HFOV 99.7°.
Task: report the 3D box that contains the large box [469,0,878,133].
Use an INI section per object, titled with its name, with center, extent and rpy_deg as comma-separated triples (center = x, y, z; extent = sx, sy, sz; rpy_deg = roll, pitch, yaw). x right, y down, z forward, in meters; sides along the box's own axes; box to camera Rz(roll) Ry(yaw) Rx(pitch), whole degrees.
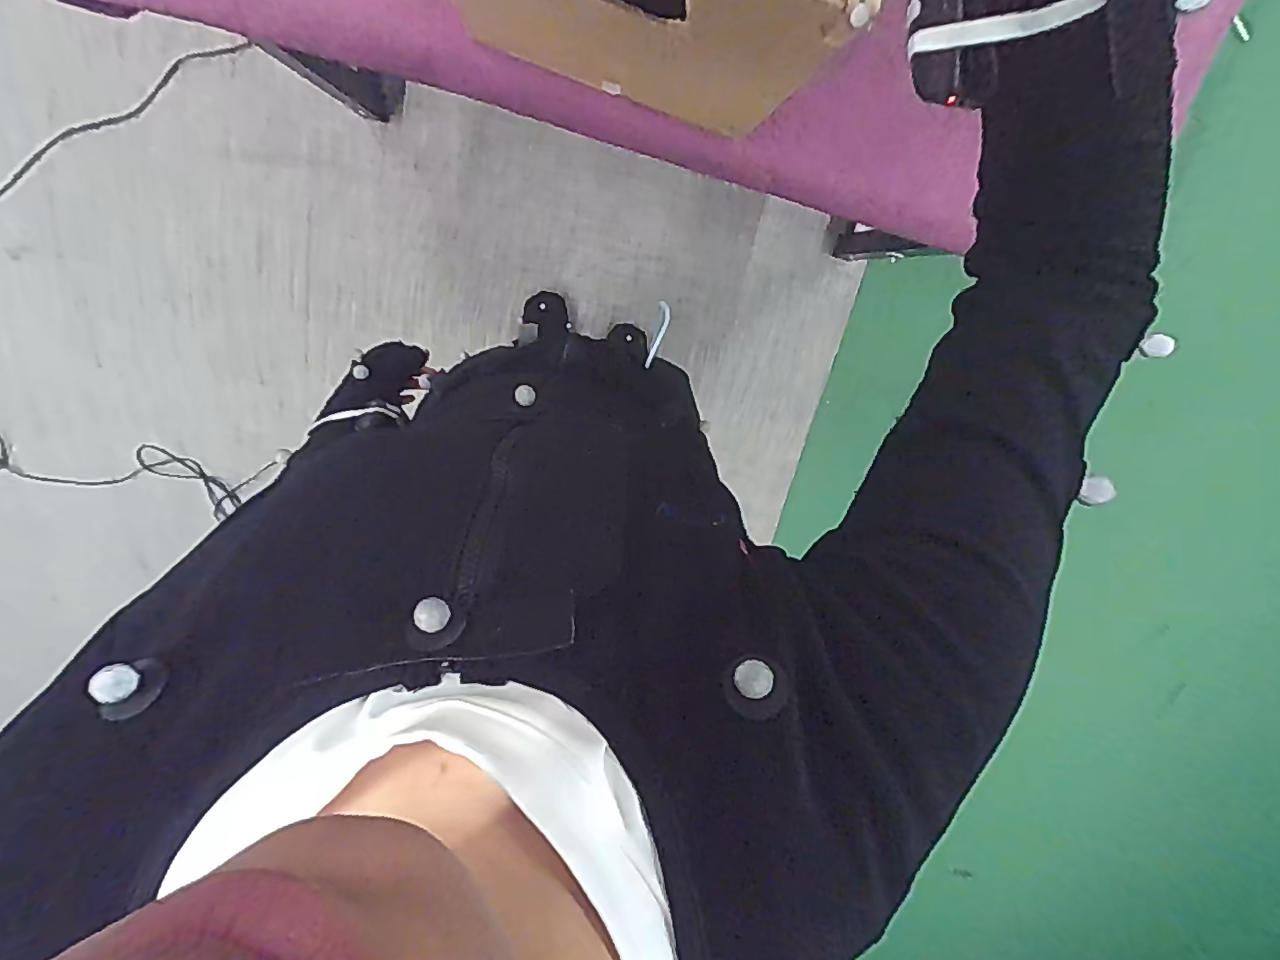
[large box]
center = 0.044, -0.563, 0.403
extent = 0.320, 0.320, 0.408
rpy_deg = 14, 109, -10
